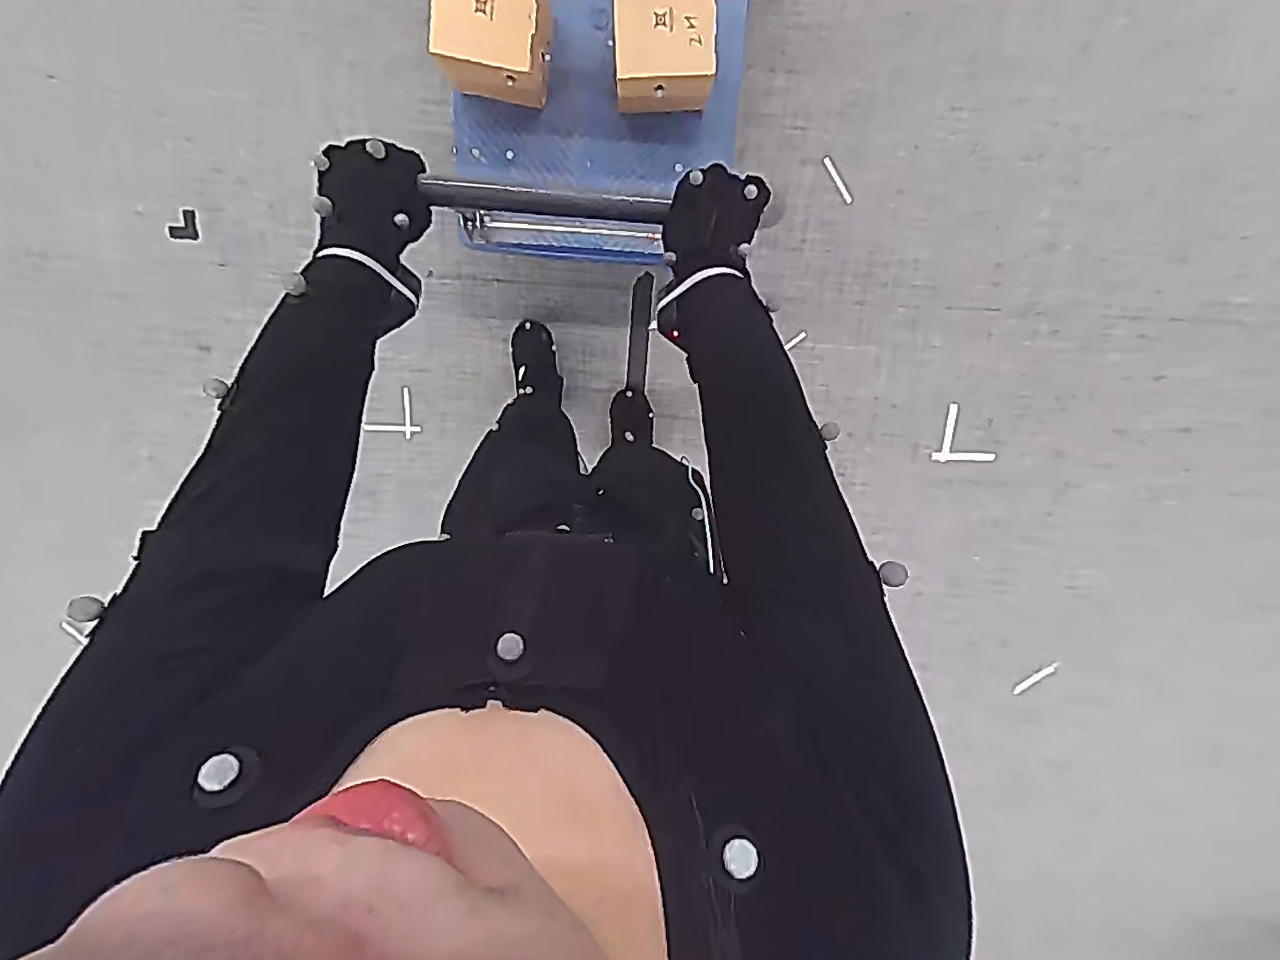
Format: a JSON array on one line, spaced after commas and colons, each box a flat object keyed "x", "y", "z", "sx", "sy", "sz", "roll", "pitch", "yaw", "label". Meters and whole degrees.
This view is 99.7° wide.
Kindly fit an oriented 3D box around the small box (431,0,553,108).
[{"x": -0.265, "y": -0.817, "z": 0.992, "sx": 0.179, "sy": 0.176, "sz": 0.168, "roll": 8, "pitch": 106, "yaw": -5, "label": "small box"}]

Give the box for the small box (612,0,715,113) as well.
[{"x": 0.042, "y": -0.801, "z": 1.000, "sx": 0.179, "sy": 0.176, "sz": 0.168, "roll": -2, "pitch": 107, "yaw": 0, "label": "small box"}]
